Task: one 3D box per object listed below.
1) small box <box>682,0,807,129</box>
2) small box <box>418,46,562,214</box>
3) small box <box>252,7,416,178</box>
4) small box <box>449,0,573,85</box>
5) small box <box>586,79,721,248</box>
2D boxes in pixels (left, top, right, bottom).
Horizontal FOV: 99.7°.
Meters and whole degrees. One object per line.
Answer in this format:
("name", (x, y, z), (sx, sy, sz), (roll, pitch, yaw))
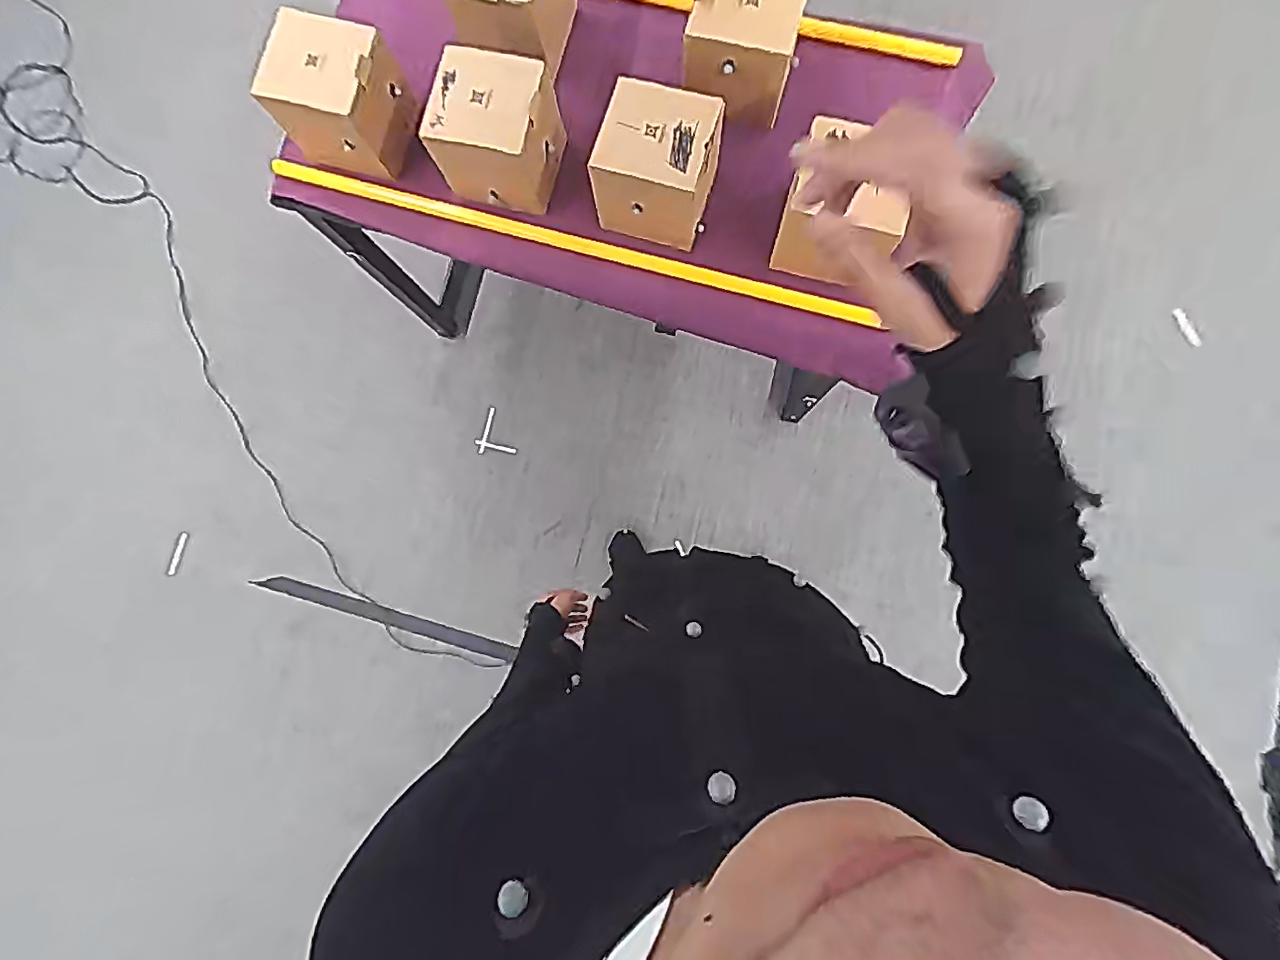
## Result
("small box", (0.178, -0.754, 0.940), (0.179, 0.176, 0.168), (16, 86, 6))
("small box", (-0.249, -0.598, 0.946), (0.179, 0.176, 0.168), (14, 84, 4))
("small box", (-0.532, -0.679, 0.969), (0.179, 0.176, 0.168), (15, 84, 2))
("small box", (-0.229, -0.868, 0.974), (0.168, 0.176, 0.179), (16, 87, 5))
("small box", (0.026, -0.526, 0.922), (0.179, 0.176, 0.168), (18, 83, 6))
